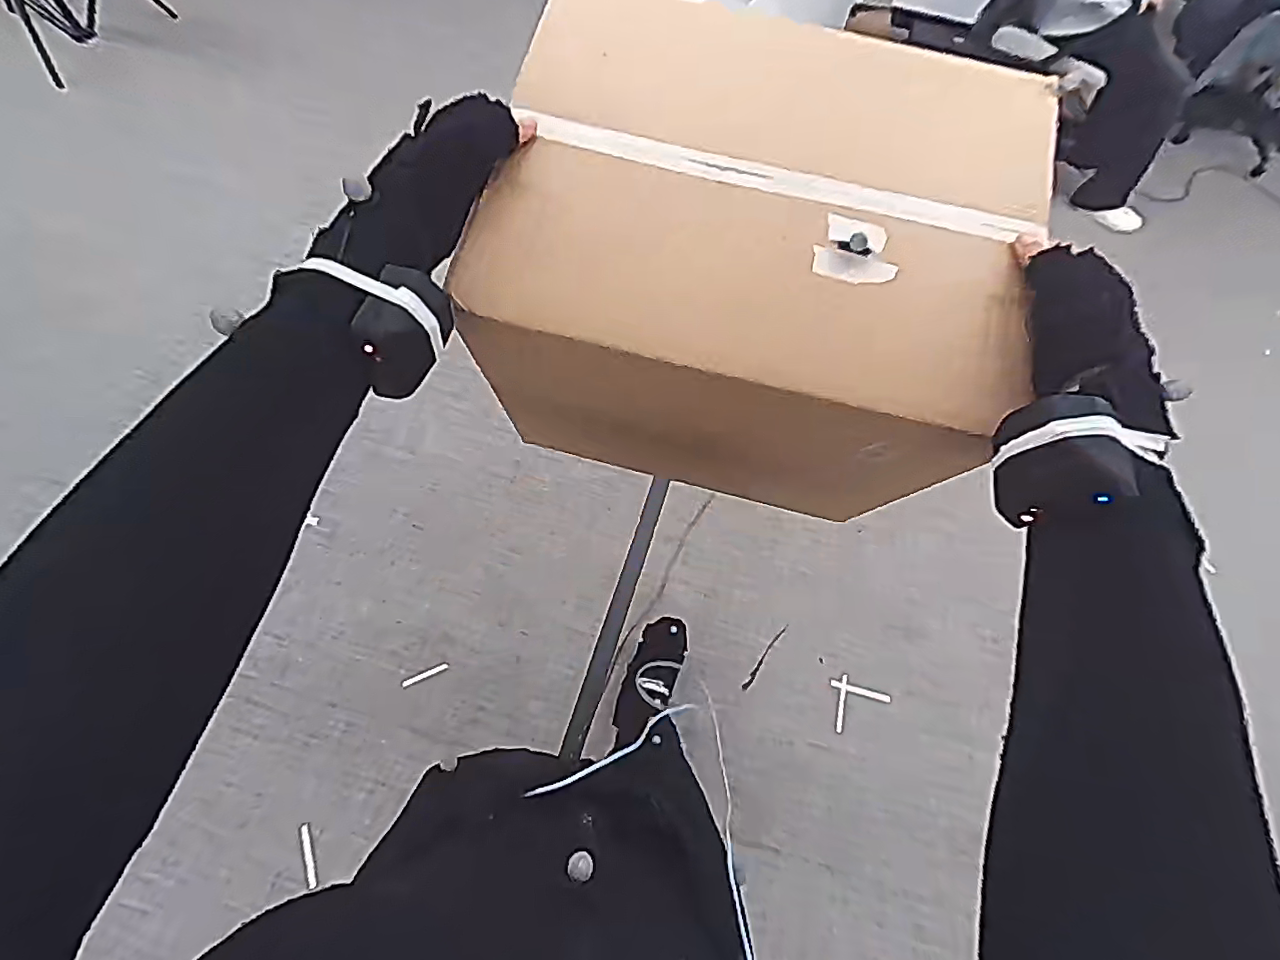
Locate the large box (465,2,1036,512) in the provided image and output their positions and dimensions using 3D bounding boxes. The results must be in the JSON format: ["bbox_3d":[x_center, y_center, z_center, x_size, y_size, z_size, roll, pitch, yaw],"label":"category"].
[{"bbox_3d":[0.093,-0.181,0.559,0.408,0.320,0.320,14,78,1],"label":"large box"}]
